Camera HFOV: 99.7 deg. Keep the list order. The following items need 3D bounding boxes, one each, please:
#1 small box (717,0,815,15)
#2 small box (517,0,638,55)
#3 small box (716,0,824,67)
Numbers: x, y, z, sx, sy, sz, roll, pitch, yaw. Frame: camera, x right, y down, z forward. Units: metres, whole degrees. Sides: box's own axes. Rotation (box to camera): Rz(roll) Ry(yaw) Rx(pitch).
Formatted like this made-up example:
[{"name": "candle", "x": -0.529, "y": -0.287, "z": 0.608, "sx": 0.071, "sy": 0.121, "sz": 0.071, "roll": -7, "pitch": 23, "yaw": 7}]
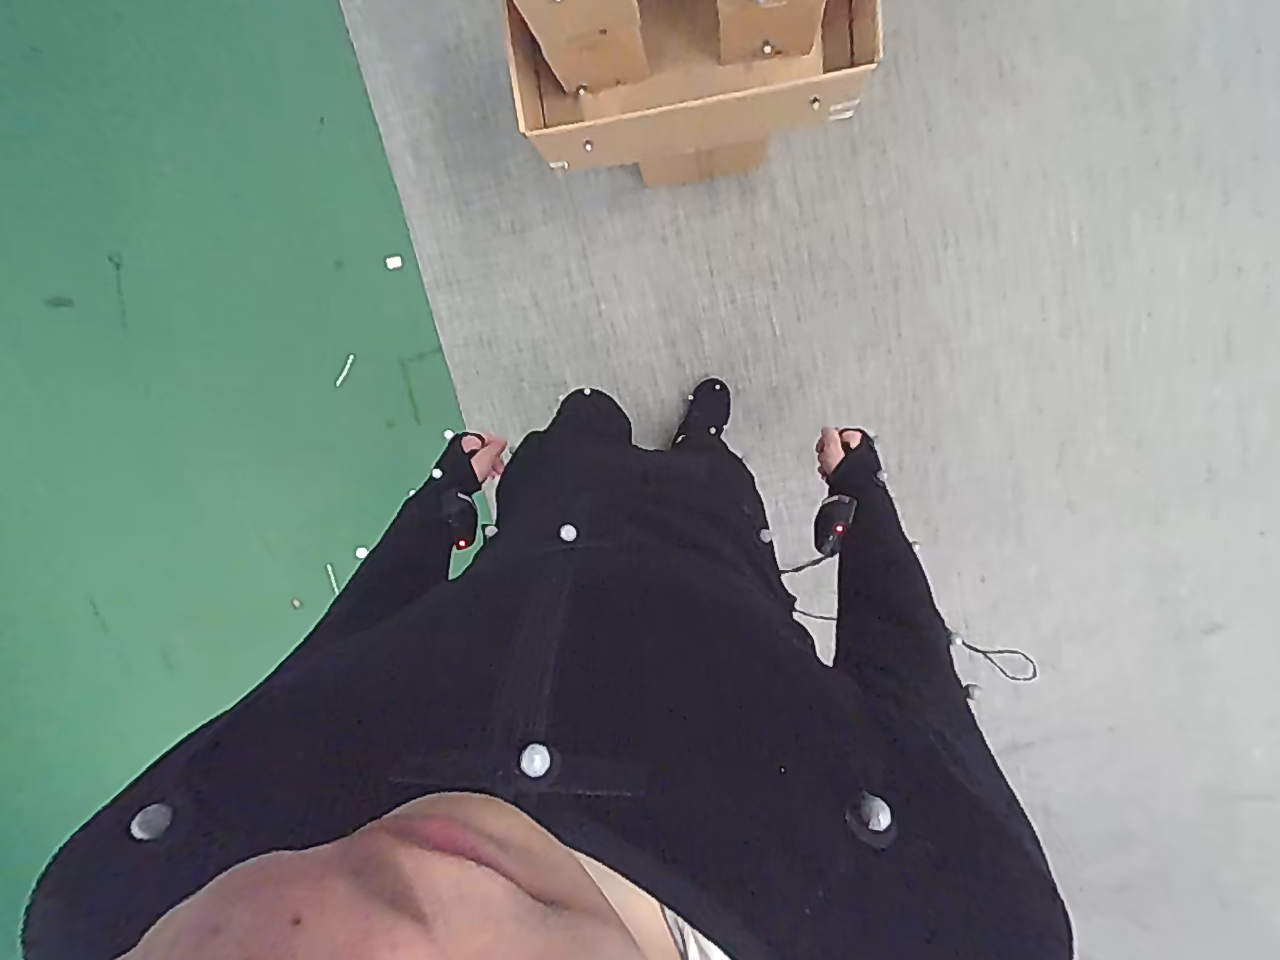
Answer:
[{"name": "small box", "x": 0.183, "y": -0.795, "z": 0.738, "sx": 0.168, "sy": 0.176, "sz": 0.179, "roll": -2, "pitch": 102, "yaw": 9}, {"name": "small box", "x": -0.105, "y": -0.774, "z": 0.783, "sx": 0.168, "sy": 0.176, "sz": 0.179, "roll": -8, "pitch": 101, "yaw": 11}, {"name": "small box", "x": 0.210, "y": -0.832, "z": 0.895, "sx": 0.168, "sy": 0.176, "sz": 0.179, "roll": -1, "pitch": 103, "yaw": 9}]
